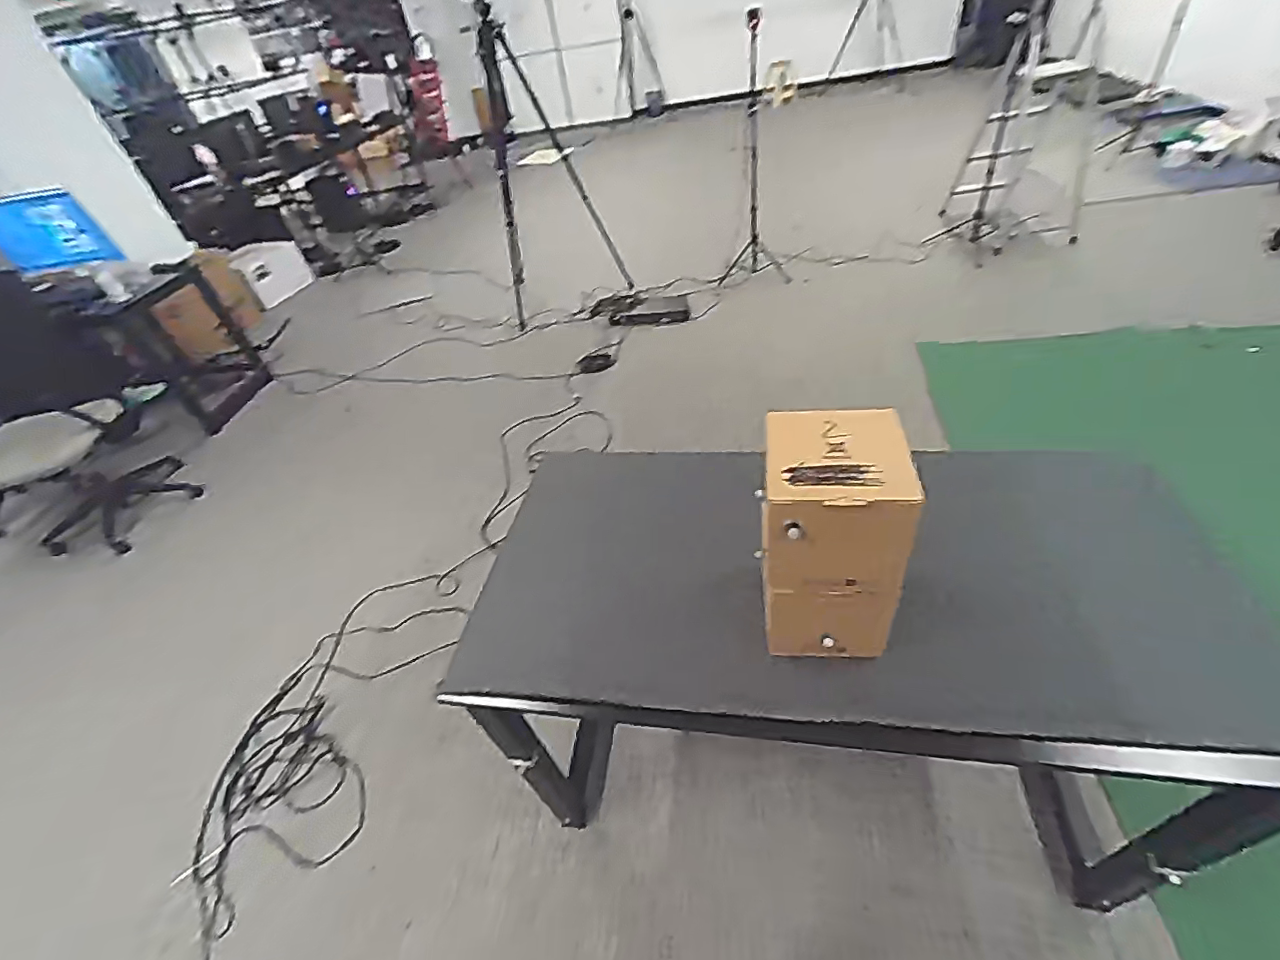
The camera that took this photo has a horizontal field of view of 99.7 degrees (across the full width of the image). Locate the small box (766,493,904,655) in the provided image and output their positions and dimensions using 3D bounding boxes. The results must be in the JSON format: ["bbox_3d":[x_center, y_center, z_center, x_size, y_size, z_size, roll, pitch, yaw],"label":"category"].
[{"bbox_3d":[0.278,0.139,0.816,0.168,0.176,0.179,-2,42,10],"label":"small box"}]
